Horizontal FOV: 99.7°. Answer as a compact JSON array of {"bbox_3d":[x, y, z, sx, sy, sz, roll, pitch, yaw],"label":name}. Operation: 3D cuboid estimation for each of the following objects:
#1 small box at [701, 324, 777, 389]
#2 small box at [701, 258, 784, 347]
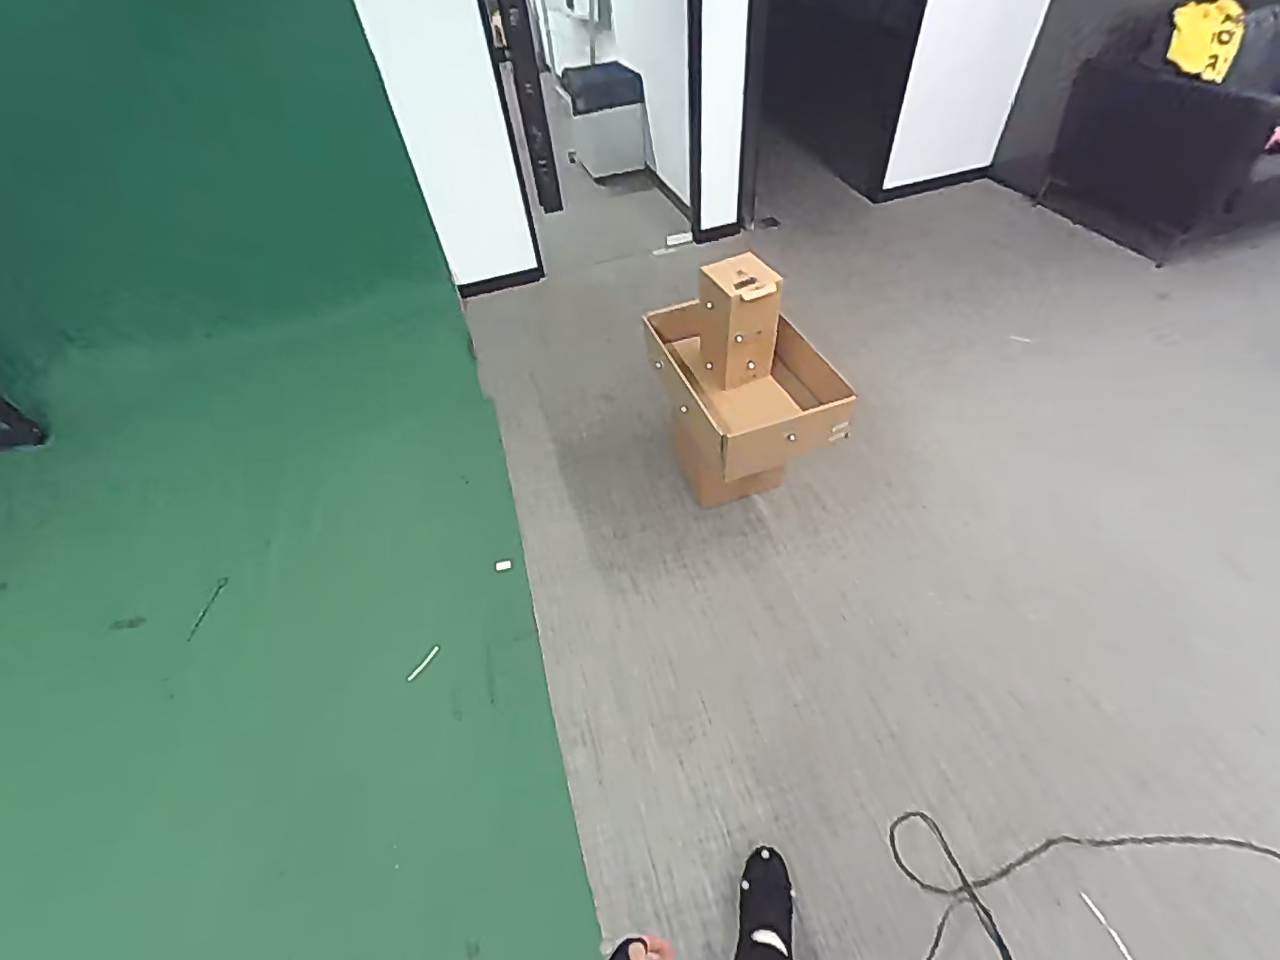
[{"bbox_3d":[0.302,-0.404,1.679,0.168,0.176,0.179,-19,53,-12],"label":"small box"},{"bbox_3d":[0.287,-0.501,1.547,0.168,0.176,0.179,-21,52,-12],"label":"small box"}]
